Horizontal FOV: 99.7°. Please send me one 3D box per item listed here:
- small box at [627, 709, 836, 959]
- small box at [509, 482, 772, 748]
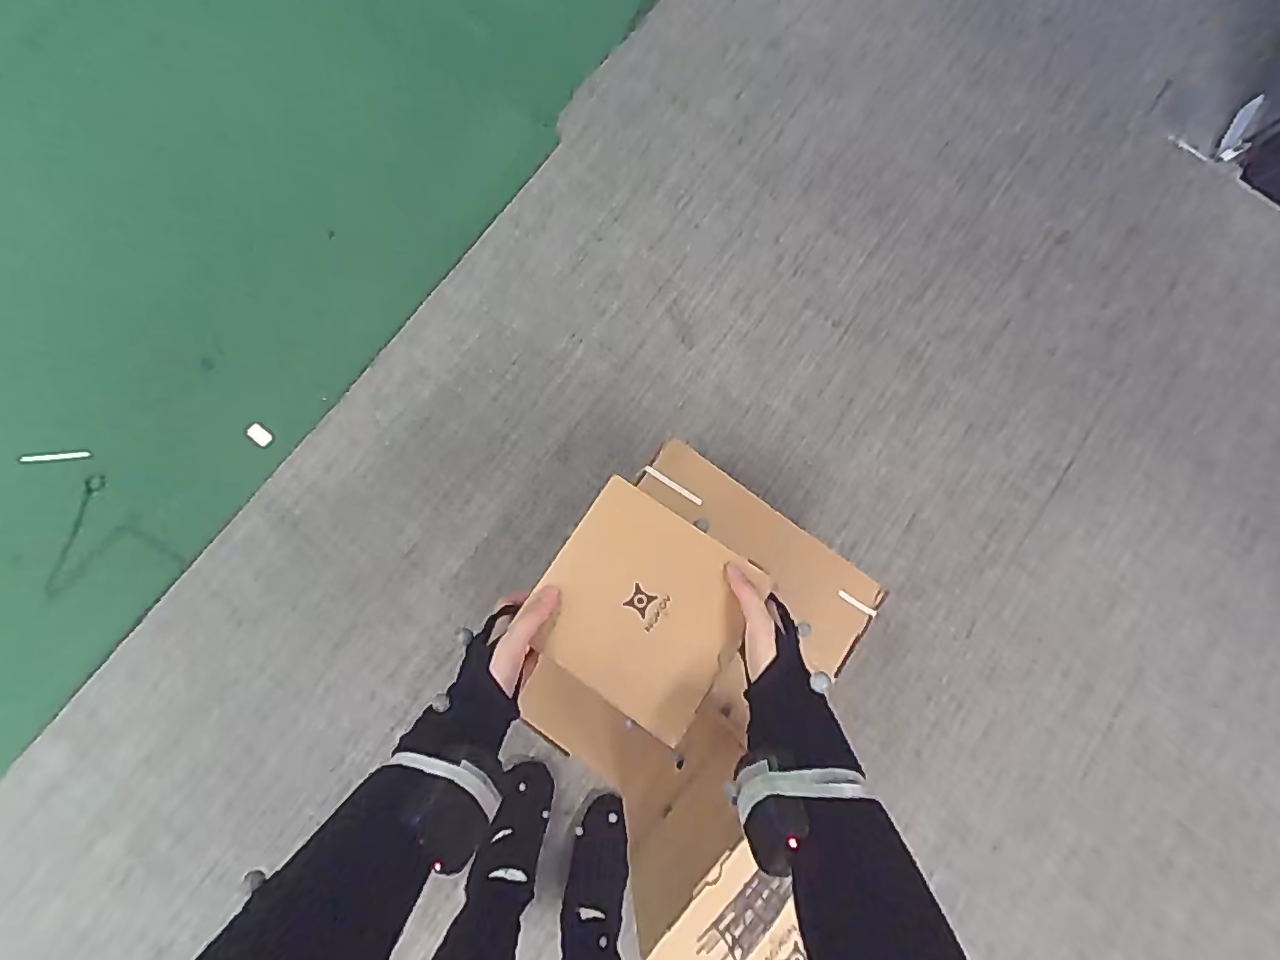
[{"bbox_3d":[0.097,0.416,0.667,0.168,0.176,0.179,40,79,3],"label":"small box"},{"bbox_3d":[-0.004,0.130,0.547,0.179,0.176,0.168,34,78,2],"label":"small box"}]
